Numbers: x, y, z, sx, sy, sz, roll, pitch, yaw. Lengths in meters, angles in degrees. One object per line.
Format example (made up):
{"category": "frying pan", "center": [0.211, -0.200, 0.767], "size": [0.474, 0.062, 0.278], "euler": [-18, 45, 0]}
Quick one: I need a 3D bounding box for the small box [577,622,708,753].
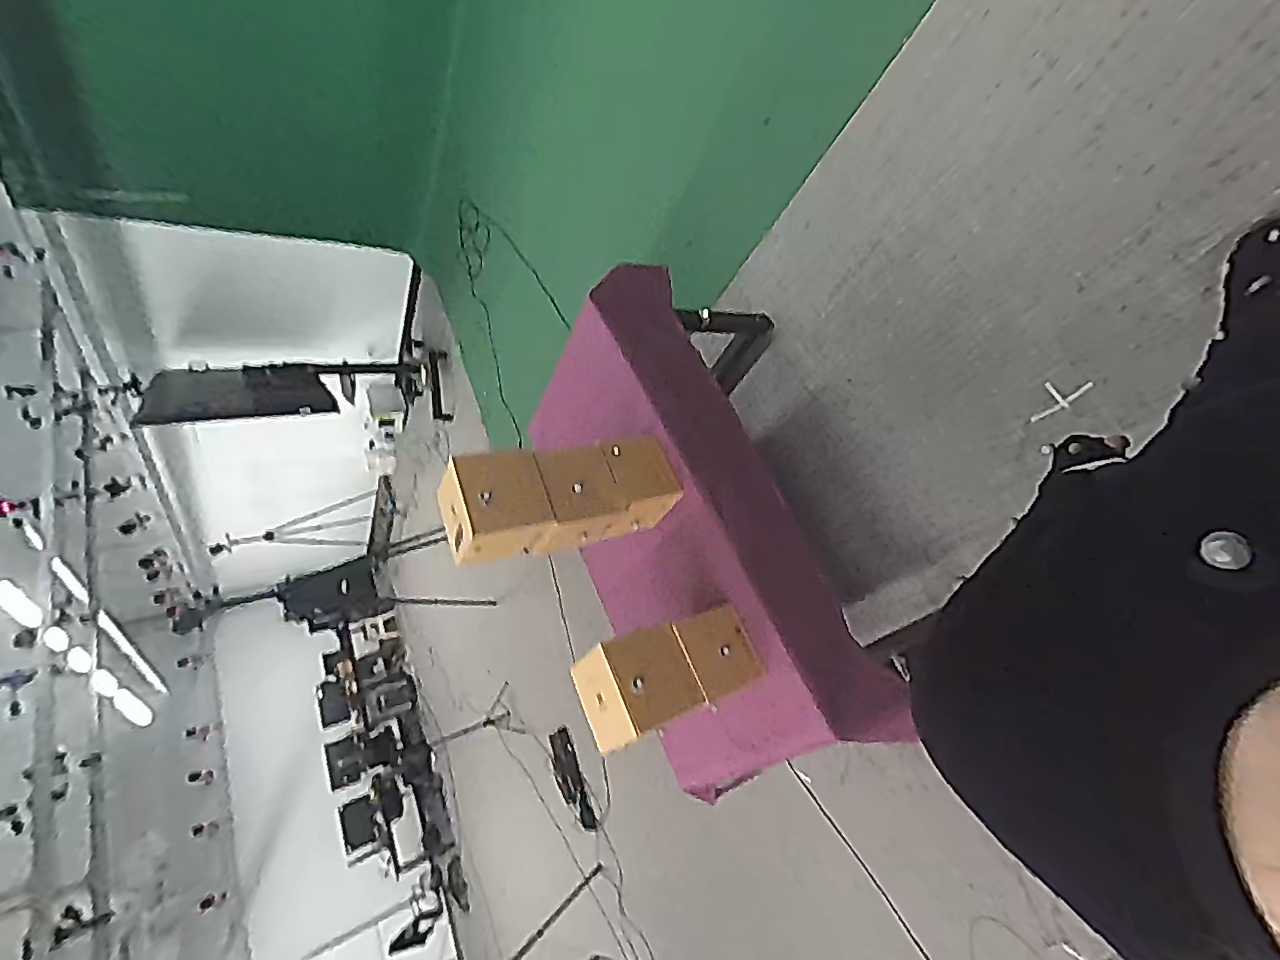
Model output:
{"category": "small box", "center": [0.004, 0.406, 1.068], "size": [0.168, 0.176, 0.179], "euler": [-51, 57, 46]}

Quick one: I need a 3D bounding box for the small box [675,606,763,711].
{"category": "small box", "center": [0.139, 0.388, 1.159], "size": [0.179, 0.176, 0.168], "euler": [-51, 57, 48]}

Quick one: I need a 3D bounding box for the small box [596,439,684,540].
{"category": "small box", "center": [-0.021, 0.018, 1.301], "size": [0.168, 0.176, 0.179], "euler": [-52, 56, 47]}

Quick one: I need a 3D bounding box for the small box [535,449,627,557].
{"category": "small box", "center": [-0.152, 0.047, 1.205], "size": [0.168, 0.176, 0.179], "euler": [-47, 60, 49]}

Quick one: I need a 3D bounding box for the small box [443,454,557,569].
{"category": "small box", "center": [-0.289, 0.061, 1.113], "size": [0.168, 0.176, 0.179], "euler": [-47, 58, 49]}
